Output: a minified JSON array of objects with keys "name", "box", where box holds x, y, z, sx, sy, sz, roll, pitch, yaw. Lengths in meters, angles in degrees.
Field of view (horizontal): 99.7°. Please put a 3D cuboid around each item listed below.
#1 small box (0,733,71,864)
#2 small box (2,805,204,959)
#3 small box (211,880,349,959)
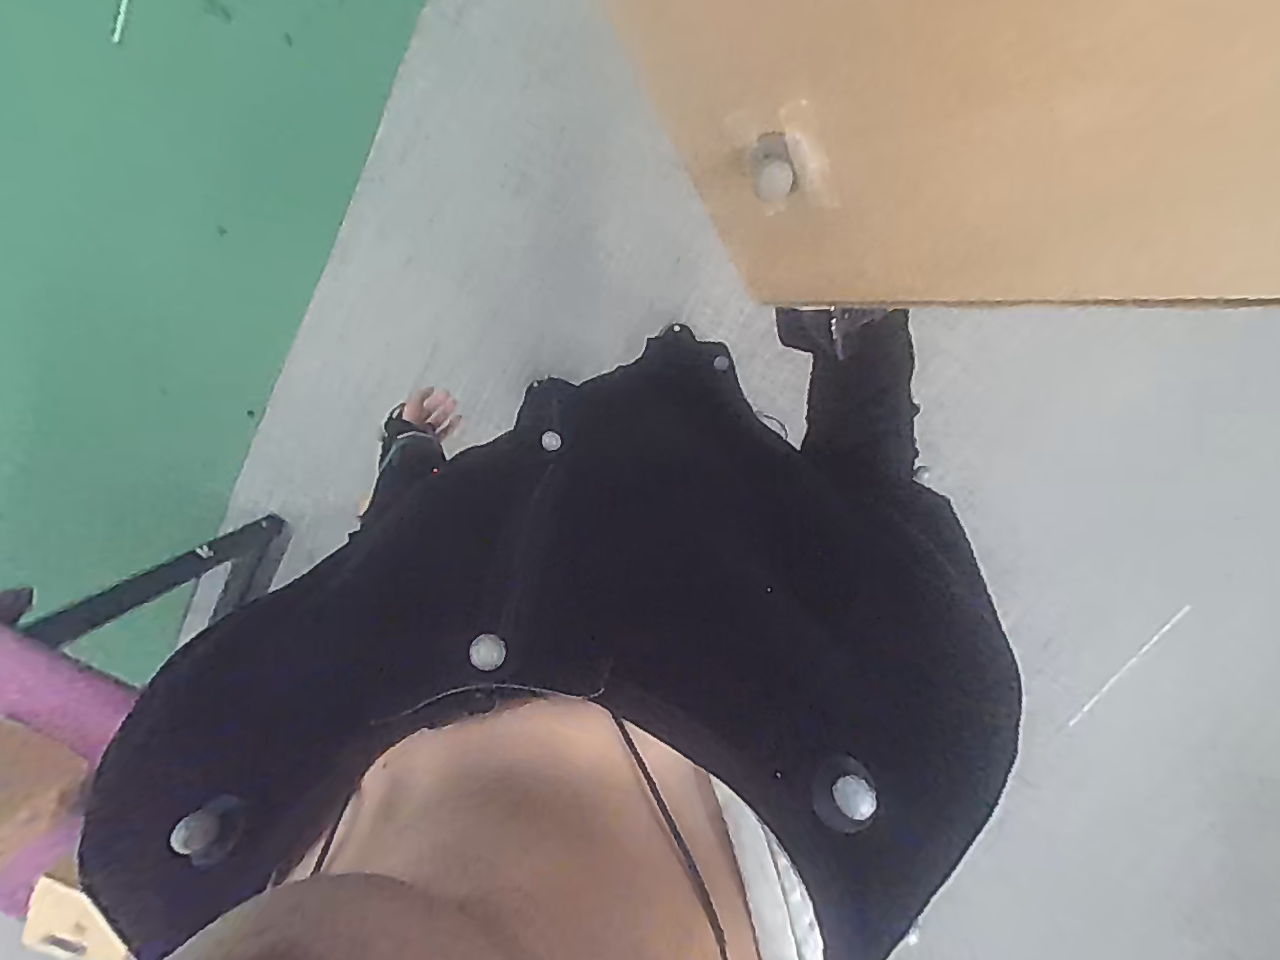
[{"name":"small box","box":[-1.122,0.557,0.894,0.179,0.176,0.168,35,105,-6]},{"name":"small box","box":[-0.901,0.710,0.922,0.168,0.176,0.179,28,104,-5]},{"name":"small box","box":[-0.652,0.858,0.948,0.179,0.176,0.168,-43,99,13]}]
